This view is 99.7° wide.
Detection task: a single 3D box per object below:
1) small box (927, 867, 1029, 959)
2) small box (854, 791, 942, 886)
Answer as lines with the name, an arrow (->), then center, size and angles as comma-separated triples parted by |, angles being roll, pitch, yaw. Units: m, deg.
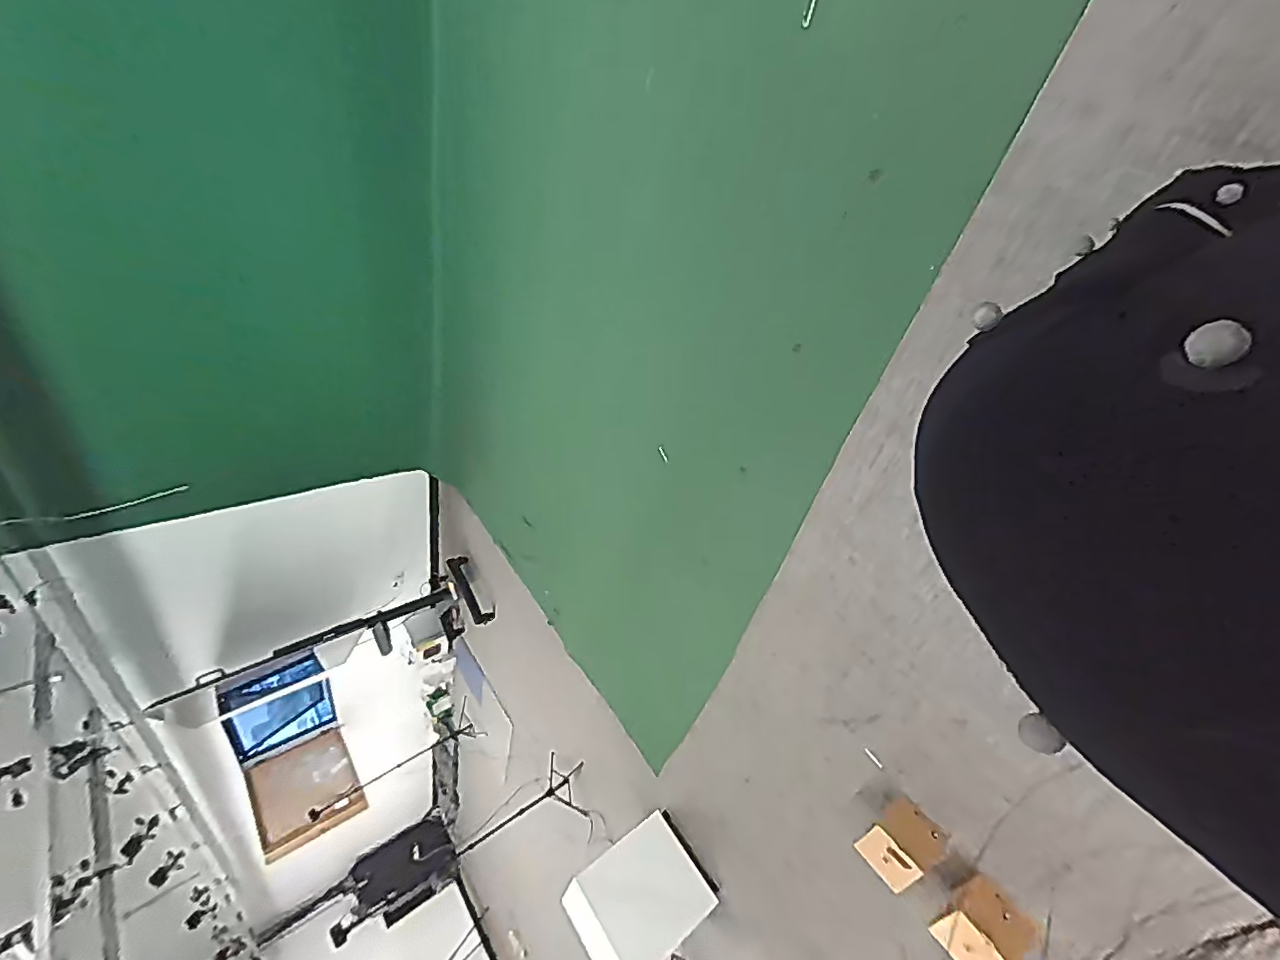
small box -> 0.997, 1.296, 1.591 | 0.168, 0.176, 0.179 | 44, 134, 33
small box -> 0.835, 1.146, 1.739 | 0.168, 0.176, 0.179 | 44, 135, 34
